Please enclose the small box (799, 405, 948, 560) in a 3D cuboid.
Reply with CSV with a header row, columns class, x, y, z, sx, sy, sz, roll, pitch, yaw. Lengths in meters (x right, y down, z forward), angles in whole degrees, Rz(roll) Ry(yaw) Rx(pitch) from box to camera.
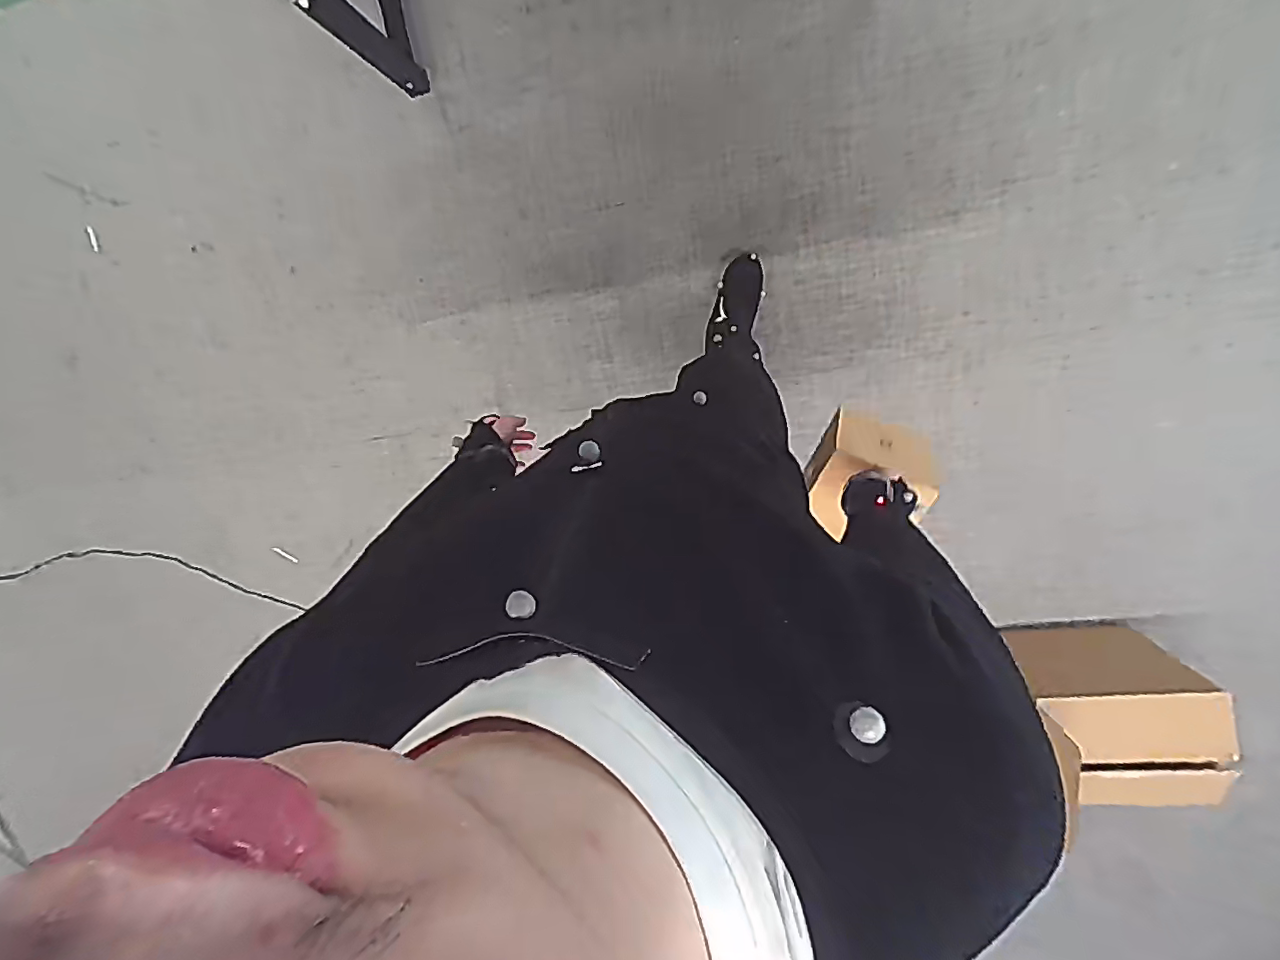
class,x,y,z,sx,sy,sz,roll,pitch,yaw
small box,0.385,0.003,0.910,0.168,0.179,0.176,28,123,10
